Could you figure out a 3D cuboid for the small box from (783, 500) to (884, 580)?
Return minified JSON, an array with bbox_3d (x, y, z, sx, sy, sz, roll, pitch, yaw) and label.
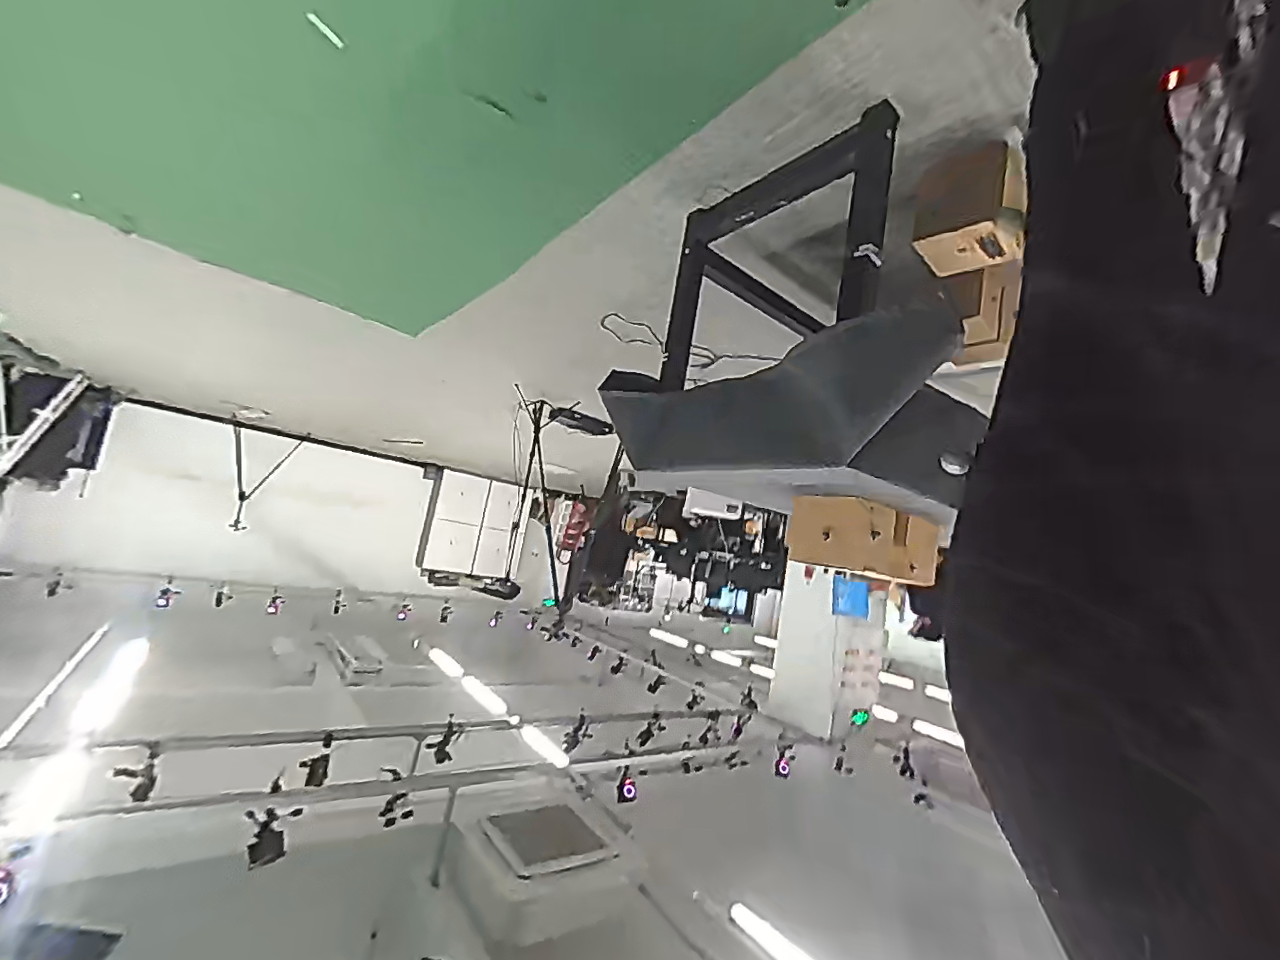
[{"bbox_3d":[0.471,0.142,1.309,0.168,0.176,0.179,16,169,-35],"label":"small box"}]
